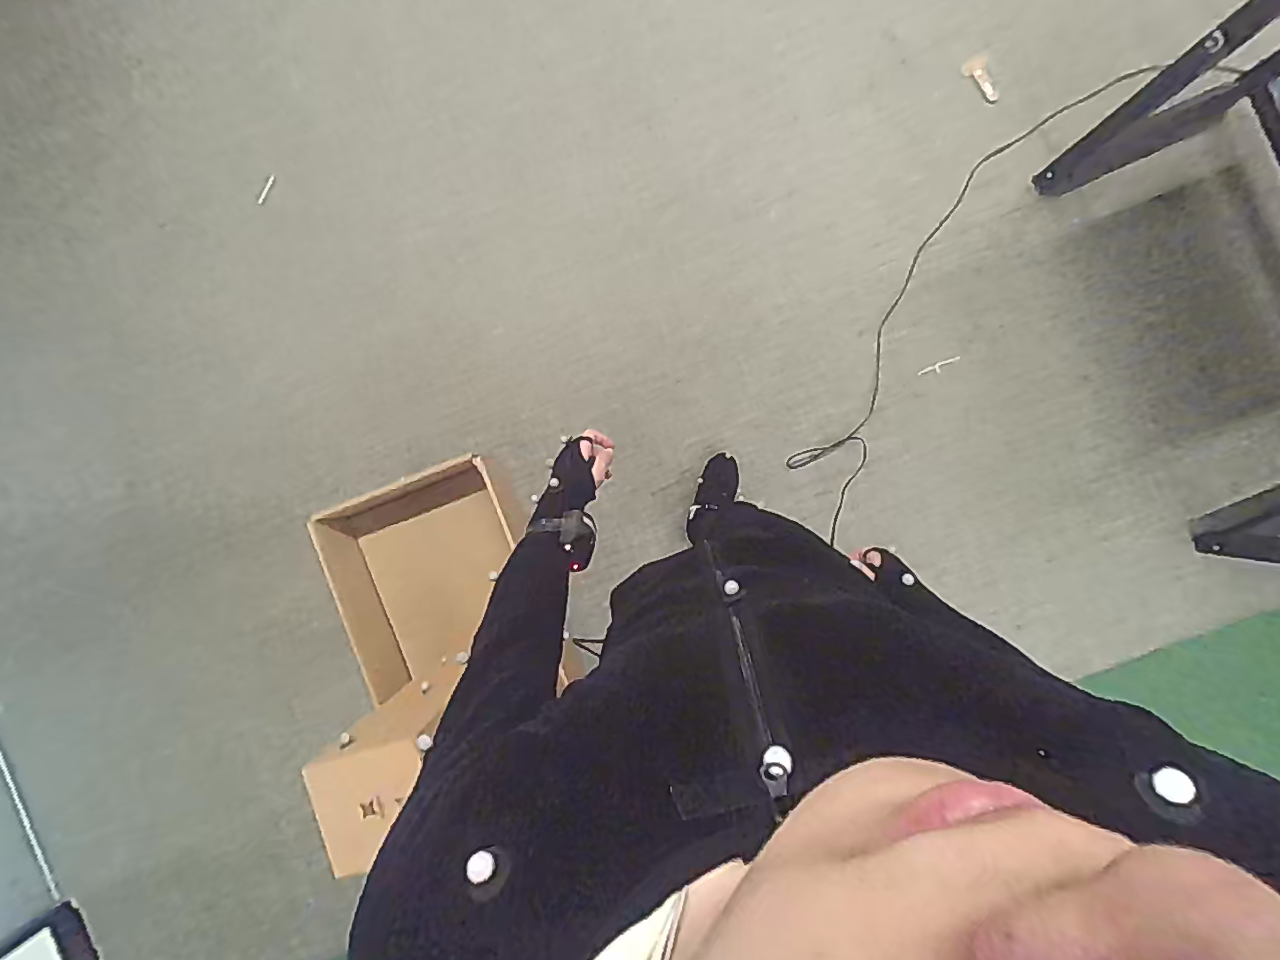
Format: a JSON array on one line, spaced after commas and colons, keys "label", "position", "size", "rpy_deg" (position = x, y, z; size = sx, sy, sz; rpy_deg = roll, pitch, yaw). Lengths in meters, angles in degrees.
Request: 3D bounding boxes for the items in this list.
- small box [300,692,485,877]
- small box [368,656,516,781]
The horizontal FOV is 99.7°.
[{"label": "small box", "position": [-0.365, 0.452, 0.827], "size": [0.179, 0.176, 0.168], "rpy_deg": [-17, 90, 4]}, {"label": "small box", "position": [-0.353, 0.449, 0.993], "size": [0.179, 0.176, 0.168], "rpy_deg": [-19, 90, 5]}]
